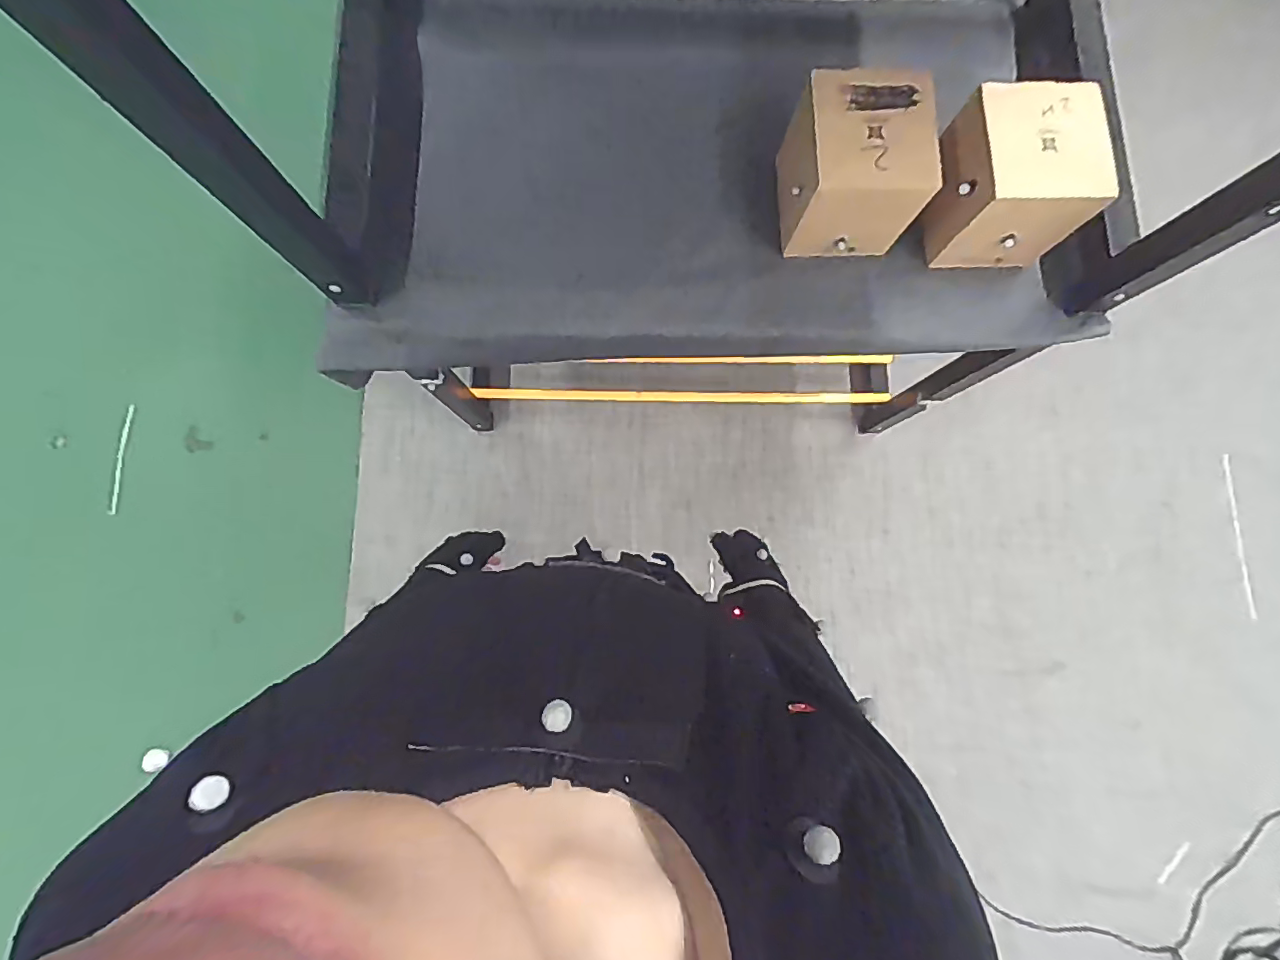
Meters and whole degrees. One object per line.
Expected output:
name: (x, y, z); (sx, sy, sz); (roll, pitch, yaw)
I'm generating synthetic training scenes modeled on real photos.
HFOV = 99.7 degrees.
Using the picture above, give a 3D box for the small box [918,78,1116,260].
small box: (0.537, -0.444, 0.796); (0.168, 0.176, 0.179); (-2, 81, -2)
